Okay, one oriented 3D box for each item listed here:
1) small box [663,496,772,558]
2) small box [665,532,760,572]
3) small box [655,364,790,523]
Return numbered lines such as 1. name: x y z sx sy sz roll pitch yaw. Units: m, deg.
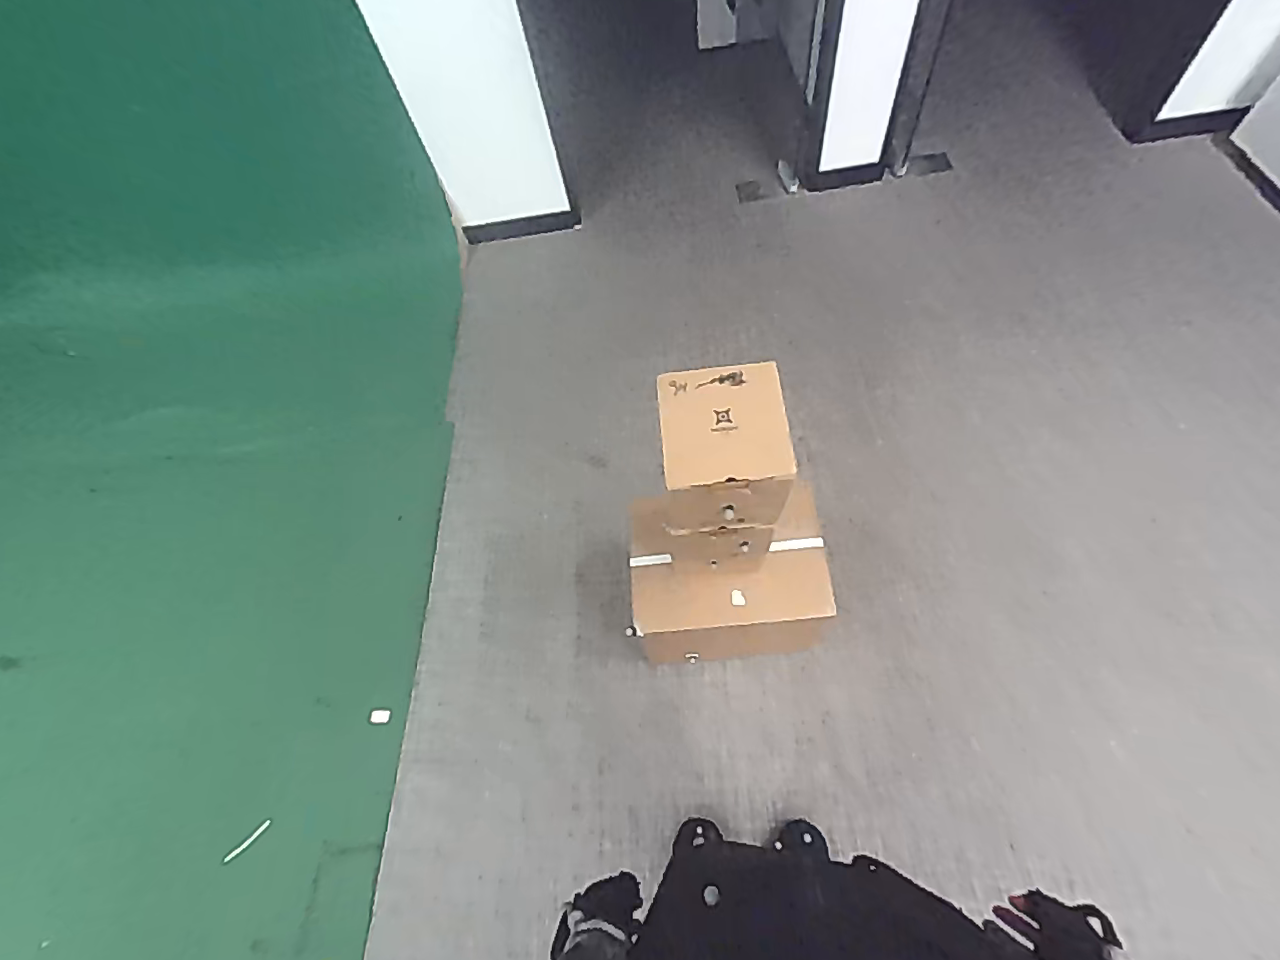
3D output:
1. small box: 0.127 0.031 0.934 0.168 0.176 0.179 -6 65 4
2. small box: 0.146 0.083 1.084 0.179 0.176 0.168 0 65 8
3. small box: 0.115 -0.042 0.788 0.168 0.176 0.179 -5 67 4
